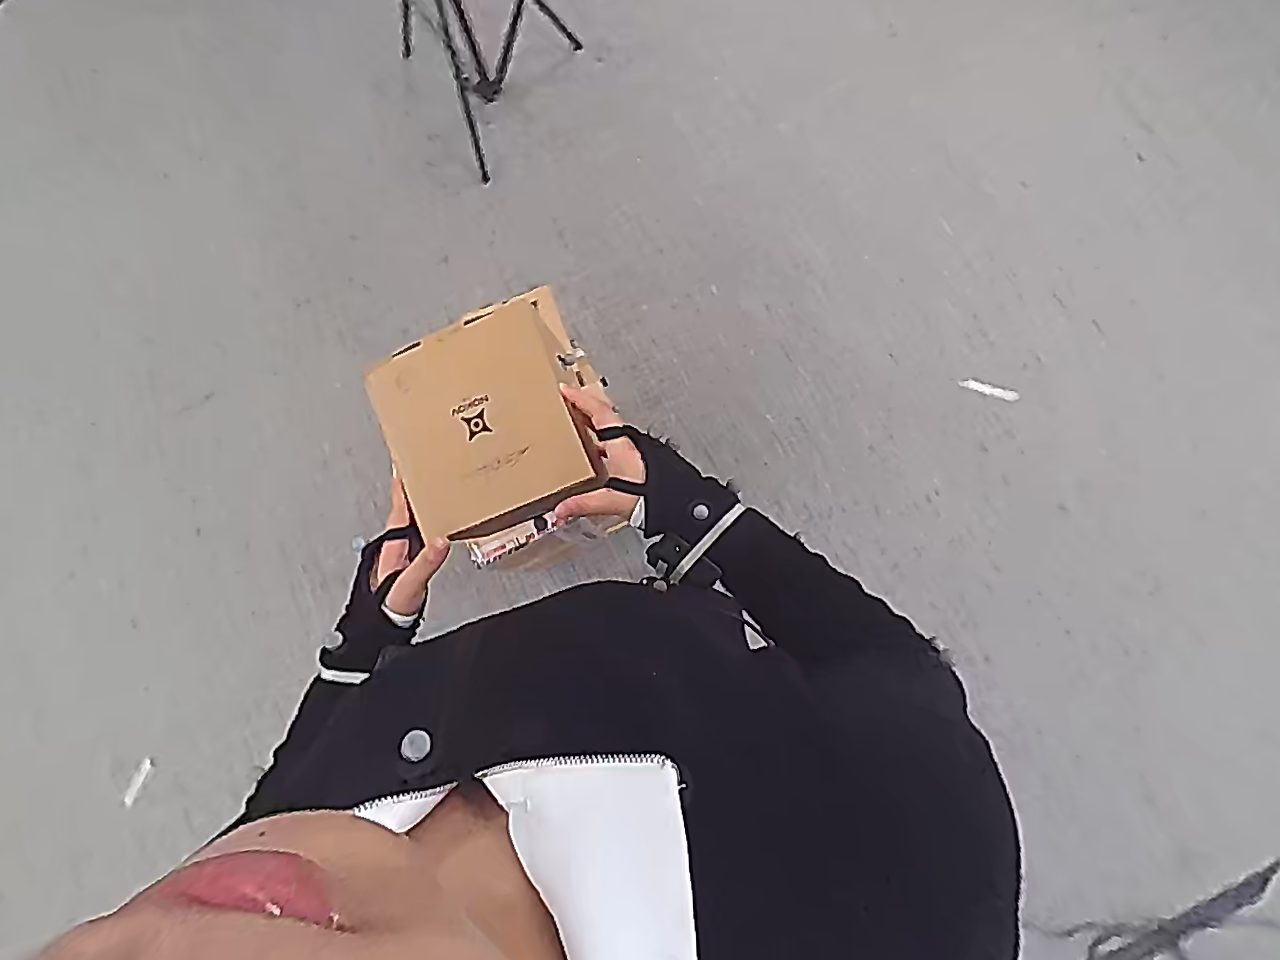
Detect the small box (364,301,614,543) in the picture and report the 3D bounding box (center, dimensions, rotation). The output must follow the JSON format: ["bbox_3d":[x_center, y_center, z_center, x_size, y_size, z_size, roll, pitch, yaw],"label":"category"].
[{"bbox_3d":[-0.137,-0.047,0.553,0.168,0.176,0.179,-21,86,3],"label":"small box"}]
